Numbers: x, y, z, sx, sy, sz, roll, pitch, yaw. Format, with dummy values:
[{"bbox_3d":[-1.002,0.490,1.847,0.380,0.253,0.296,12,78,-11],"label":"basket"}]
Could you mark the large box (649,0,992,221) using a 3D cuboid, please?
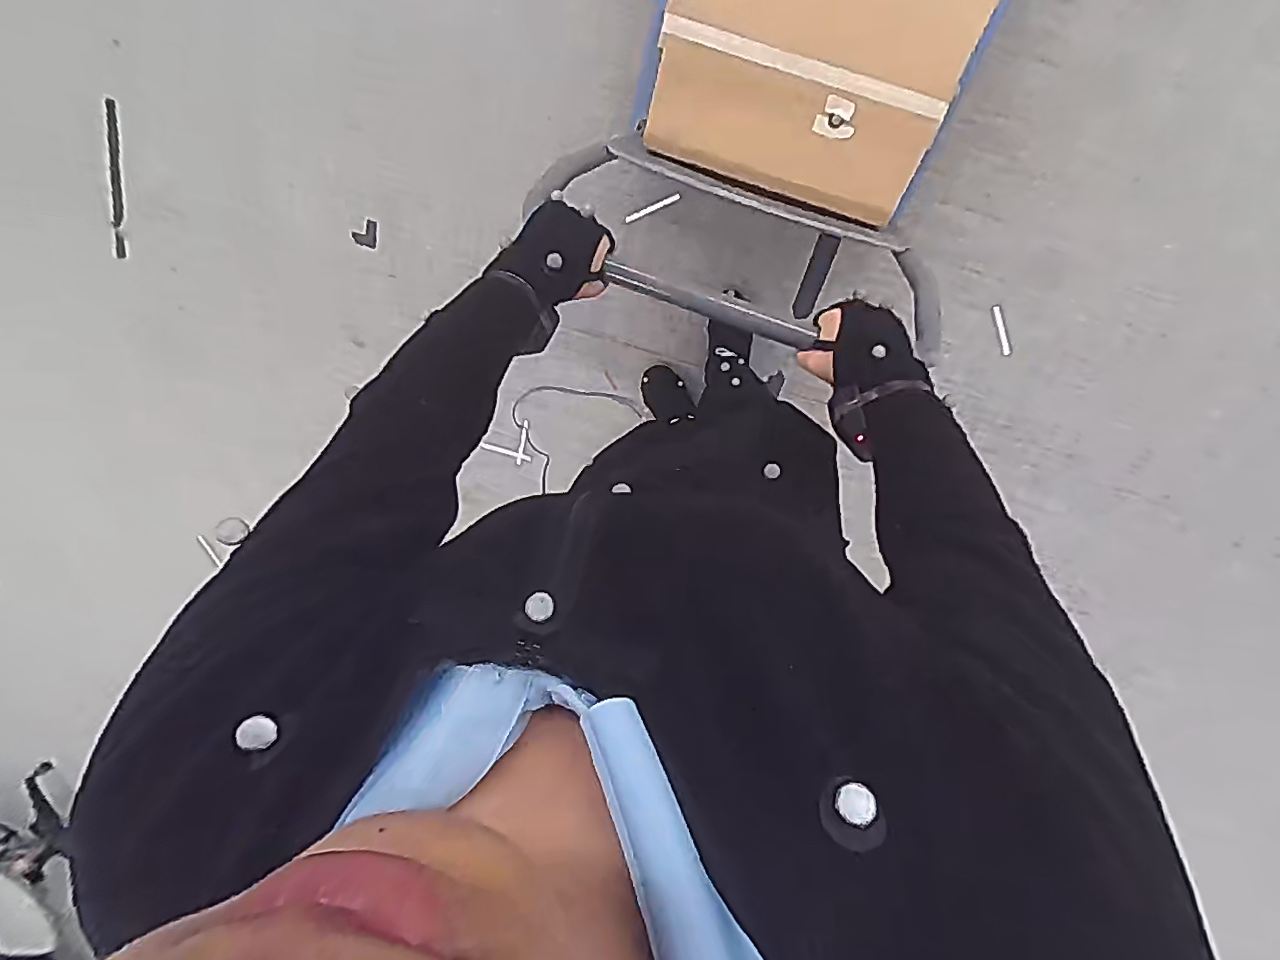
[{"bbox_3d":[0.263,-0.663,0.891,0.408,0.320,0.320,19,125,1],"label":"large box"}]
